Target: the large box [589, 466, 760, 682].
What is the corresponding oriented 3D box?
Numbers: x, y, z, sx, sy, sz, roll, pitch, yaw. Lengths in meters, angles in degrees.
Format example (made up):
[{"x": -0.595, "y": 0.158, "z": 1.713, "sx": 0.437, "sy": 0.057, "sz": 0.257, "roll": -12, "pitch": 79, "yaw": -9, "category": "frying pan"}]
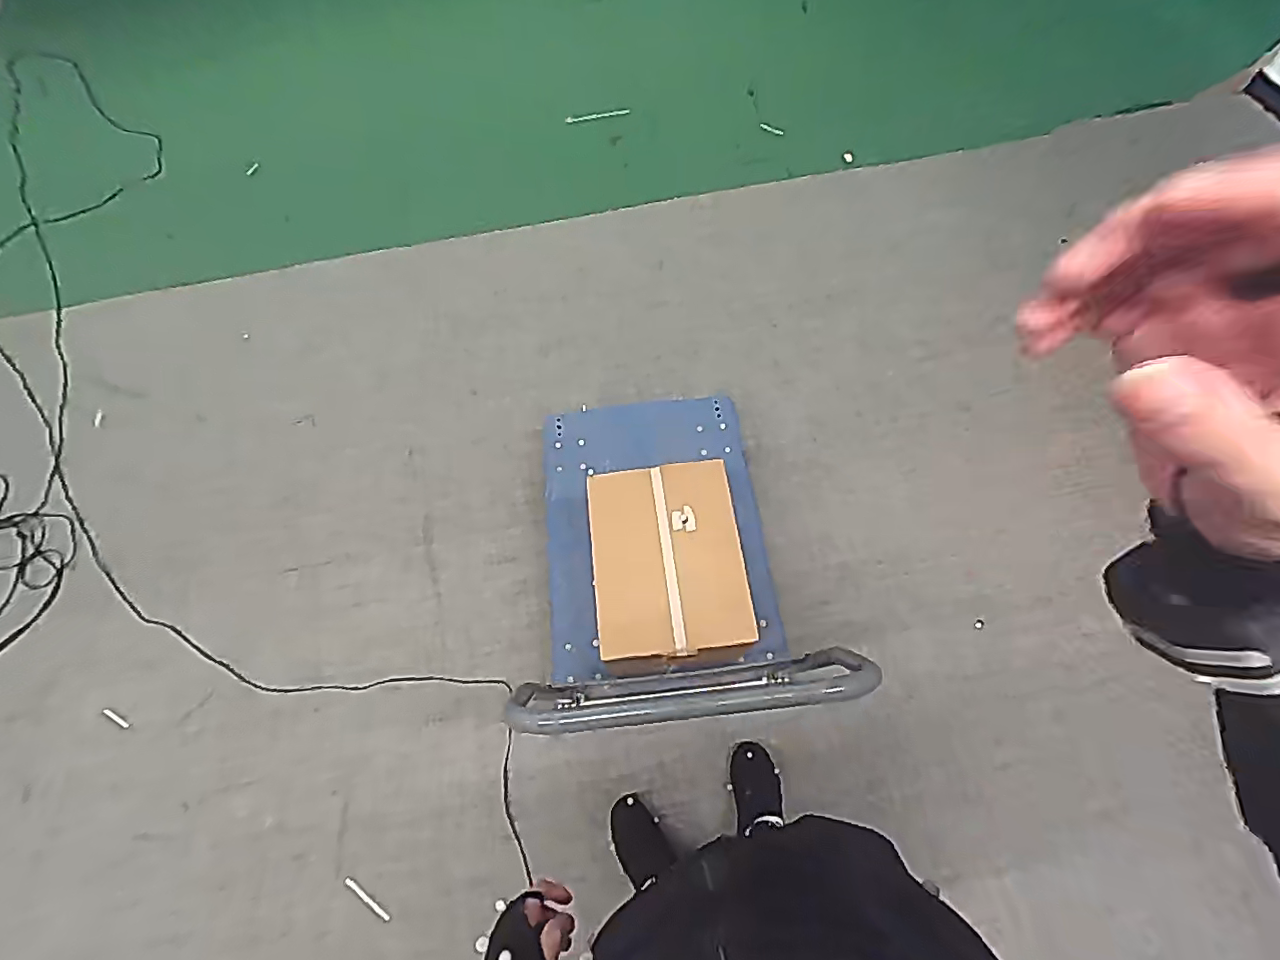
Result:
[{"x": 0.067, "y": 0.229, "z": 1.267, "sx": 0.320, "sy": 0.320, "sz": 0.408, "roll": -7, "pitch": 63, "yaw": -1, "category": "large box"}]
